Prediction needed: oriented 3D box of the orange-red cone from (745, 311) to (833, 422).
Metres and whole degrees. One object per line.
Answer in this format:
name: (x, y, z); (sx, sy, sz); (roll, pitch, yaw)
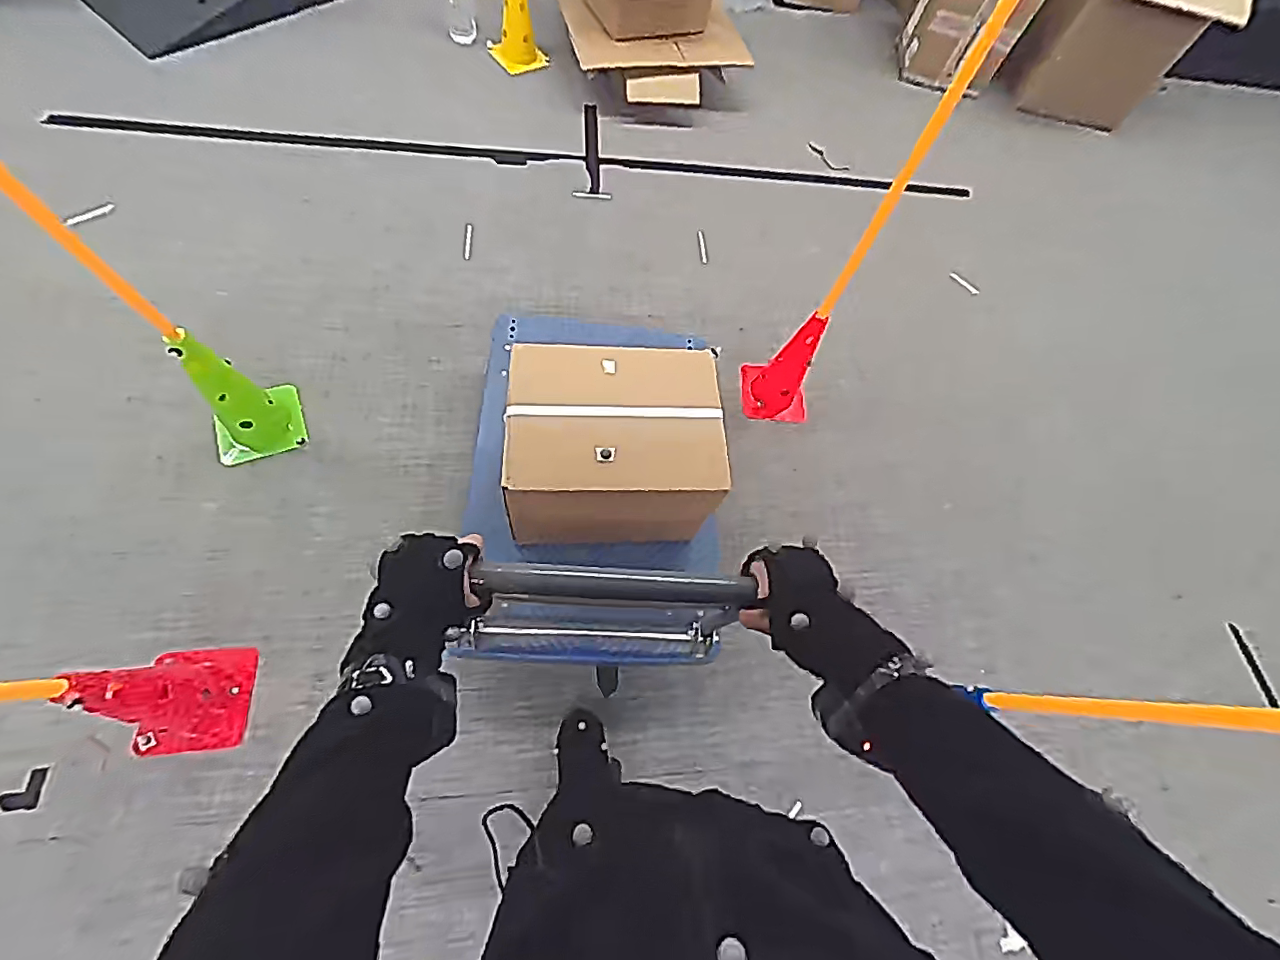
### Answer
orange-red cone: (0.448, -0.343, 1.523); (0.199, 0.360, 0.198); (6, 65, -7)

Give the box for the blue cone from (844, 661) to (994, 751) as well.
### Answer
blue cone: (0.632, 0.483, 1.185); (0.193, 0.380, 0.192); (-4, 65, -11)
